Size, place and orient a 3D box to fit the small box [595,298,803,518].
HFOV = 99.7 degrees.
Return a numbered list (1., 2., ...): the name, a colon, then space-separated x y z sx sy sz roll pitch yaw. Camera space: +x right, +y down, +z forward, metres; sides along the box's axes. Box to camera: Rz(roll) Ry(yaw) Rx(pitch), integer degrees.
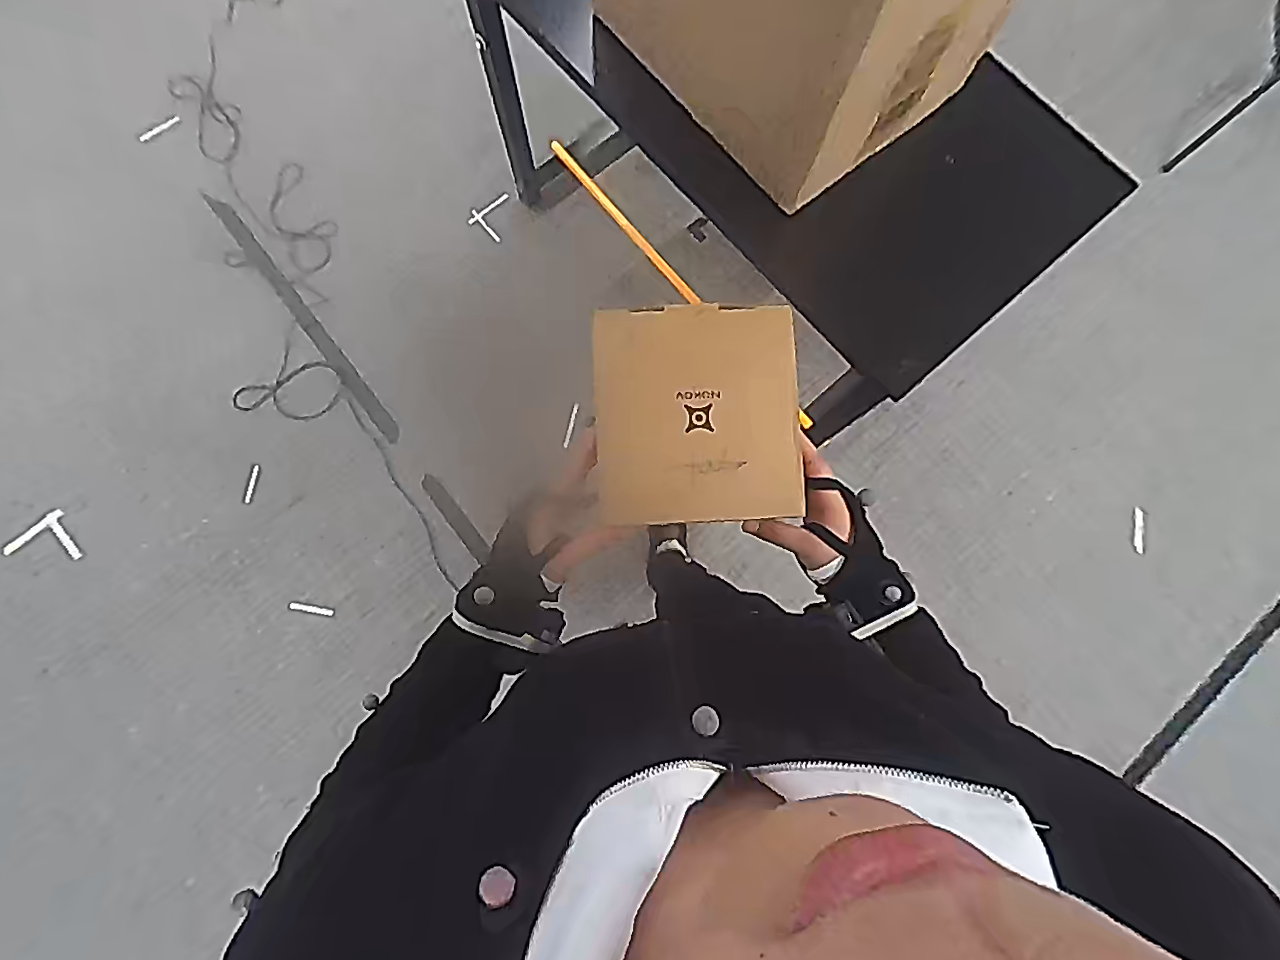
1. small box: 0.041 -0.055 0.512 0.168 0.176 0.179 -3 86 -3
